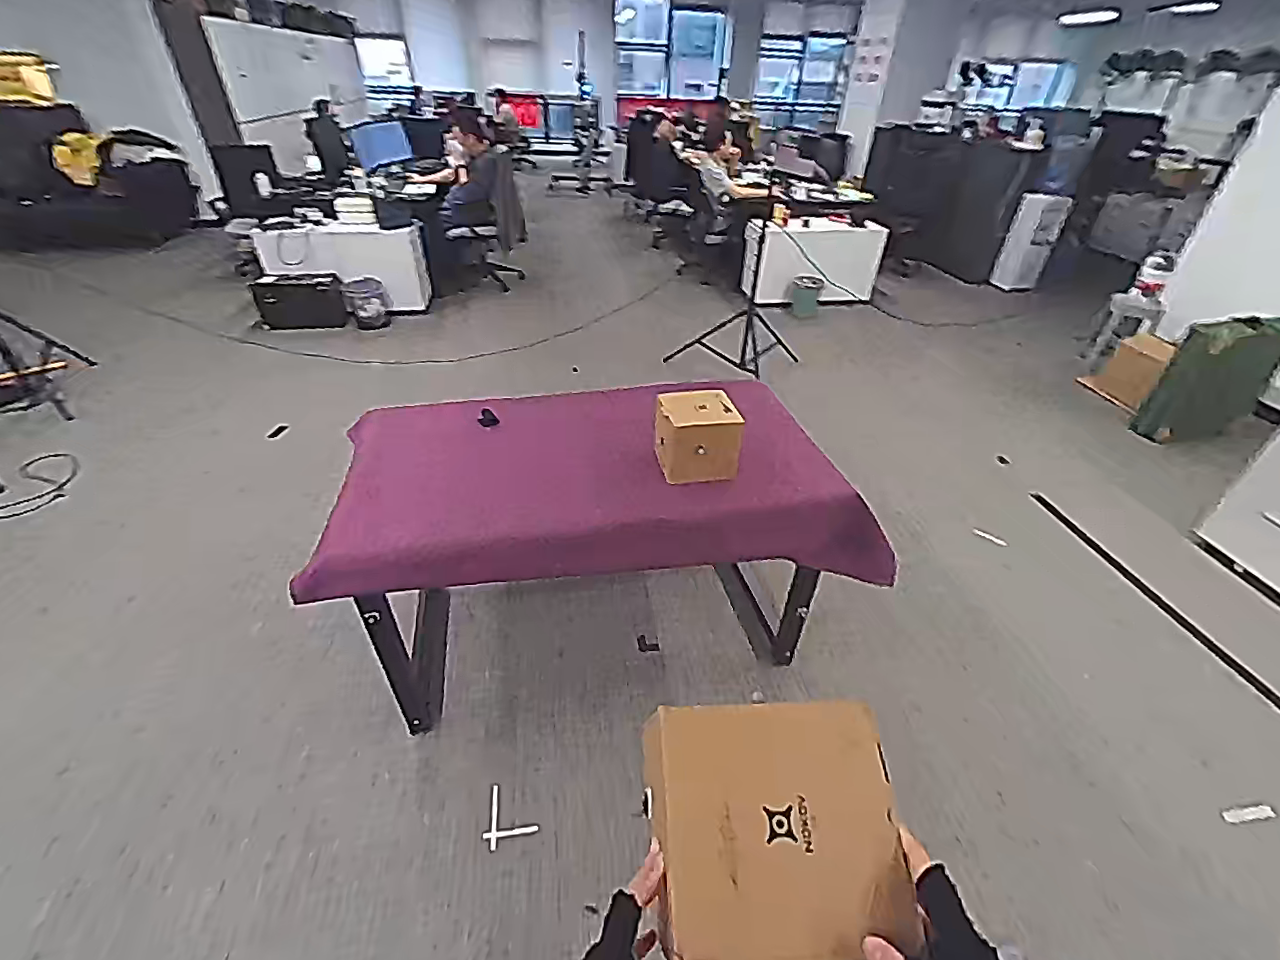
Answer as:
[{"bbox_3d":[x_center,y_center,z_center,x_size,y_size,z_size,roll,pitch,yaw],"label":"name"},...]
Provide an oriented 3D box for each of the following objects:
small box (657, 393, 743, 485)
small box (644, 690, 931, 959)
[{"bbox_3d":[0.145,-0.100,1.359,0.179,0.176,0.168,-7,37,-9],"label":"small box"},{"bbox_3d":[0.103,0.284,0.467,0.179,0.176,0.168,-2,59,-6],"label":"small box"}]
